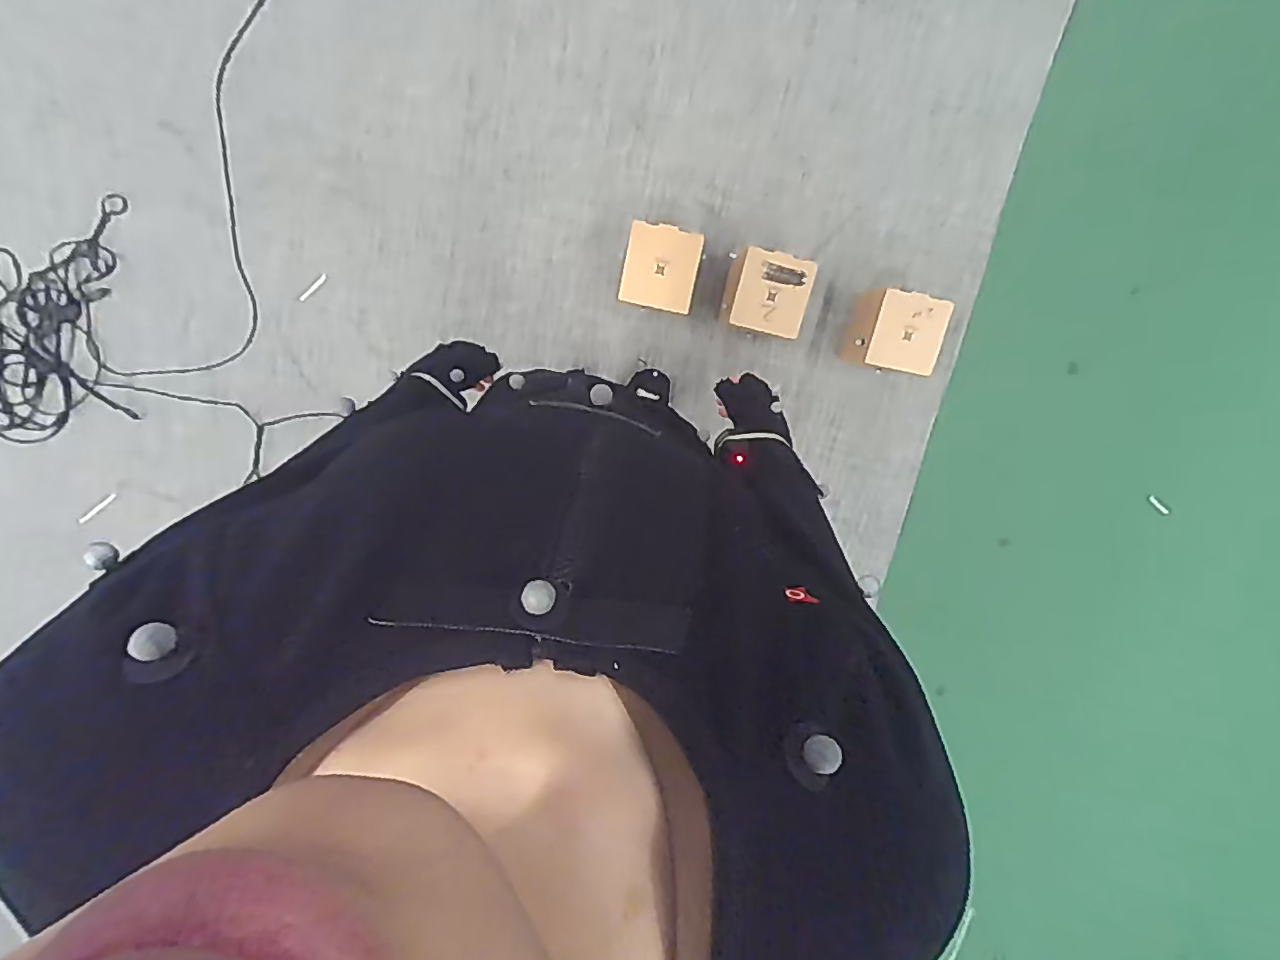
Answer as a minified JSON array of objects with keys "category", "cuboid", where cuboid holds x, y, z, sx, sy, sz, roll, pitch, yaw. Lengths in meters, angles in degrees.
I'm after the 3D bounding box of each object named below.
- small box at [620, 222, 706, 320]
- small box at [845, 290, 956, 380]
[{"category":"small box","cuboid":[0.052,-0.487,1.287,0.168,0.176,0.179,11,102,-3]},{"category":"small box","cuboid":[0.625,-0.351,1.324,0.168,0.176,0.179,11,103,-4]}]
